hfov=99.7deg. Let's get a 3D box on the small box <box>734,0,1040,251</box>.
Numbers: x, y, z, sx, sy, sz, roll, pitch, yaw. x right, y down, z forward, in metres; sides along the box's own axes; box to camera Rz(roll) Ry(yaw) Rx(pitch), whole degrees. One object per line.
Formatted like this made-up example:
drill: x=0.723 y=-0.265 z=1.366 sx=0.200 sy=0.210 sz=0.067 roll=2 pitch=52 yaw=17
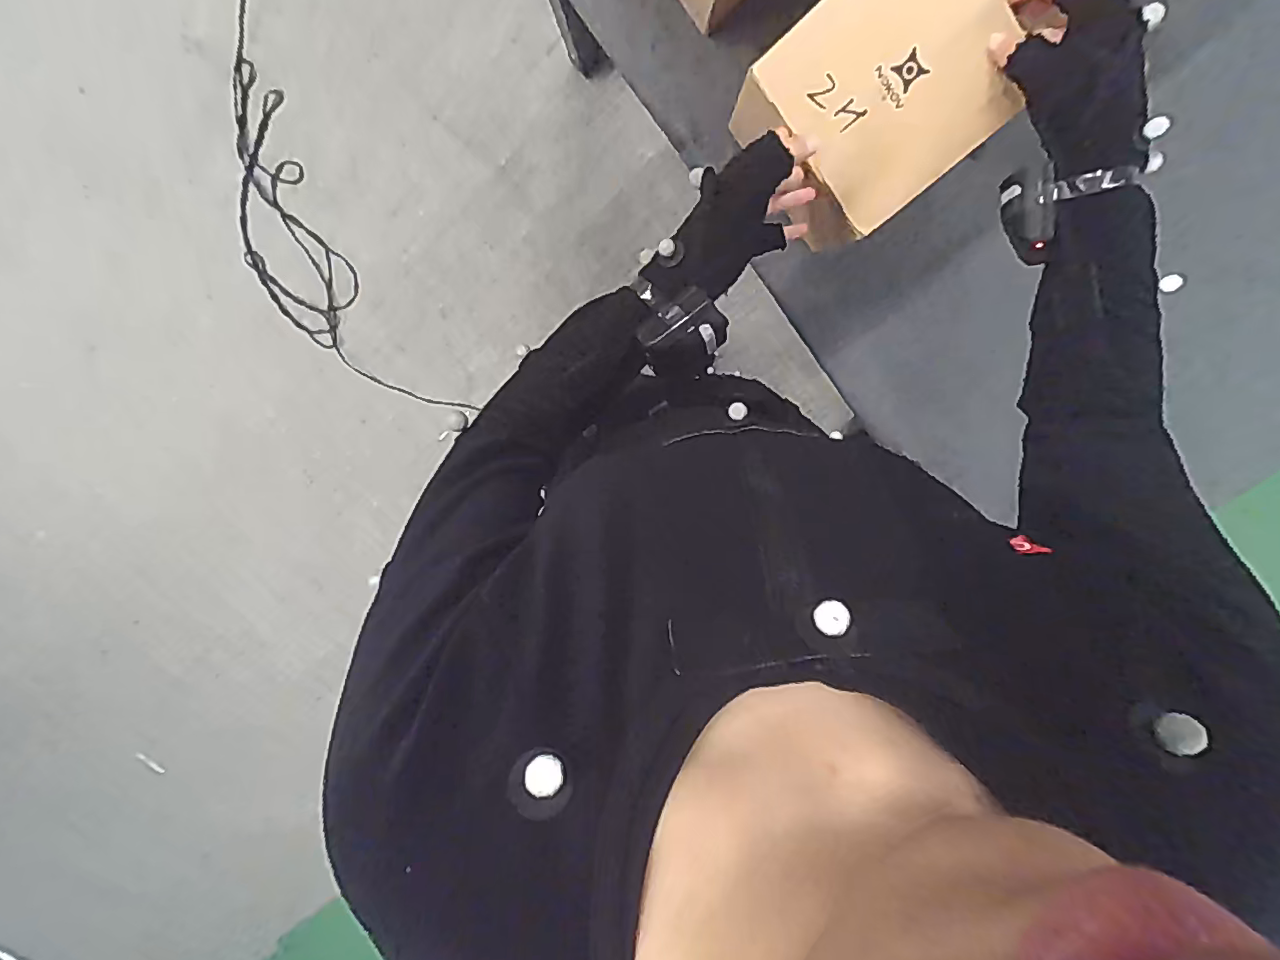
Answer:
small box: x=0.208 y=-0.342 z=0.509 sx=0.179 sy=0.176 sz=0.168 roll=-37 pitch=103 yaw=14
